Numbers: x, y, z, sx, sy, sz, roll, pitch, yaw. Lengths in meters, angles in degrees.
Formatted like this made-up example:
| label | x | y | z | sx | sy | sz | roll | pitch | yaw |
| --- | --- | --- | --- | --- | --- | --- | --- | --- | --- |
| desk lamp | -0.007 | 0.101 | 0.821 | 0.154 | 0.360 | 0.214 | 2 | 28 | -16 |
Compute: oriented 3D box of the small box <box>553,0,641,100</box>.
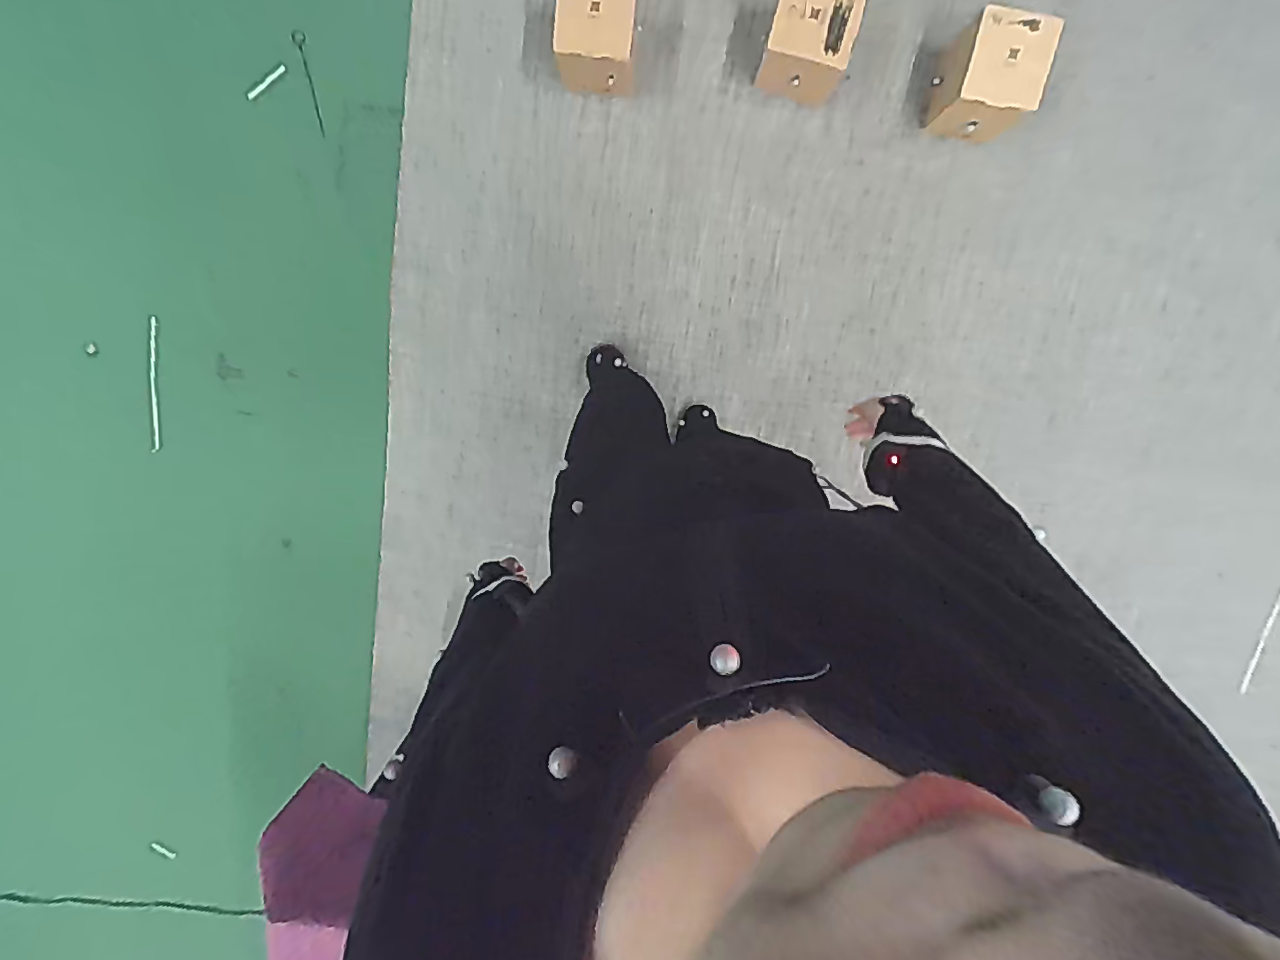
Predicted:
| label | x | y | z | sx | sy | sz | roll | pitch | yaw |
| --- | --- | --- | --- | --- | --- | --- | --- | --- | --- |
| small box | -0.090 | -0.988 | 1.207 | 0.168 | 0.176 | 0.179 | 8 | 101 | 0 |

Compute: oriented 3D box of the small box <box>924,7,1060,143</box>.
| label | x | y | z | sx | sy | sz | roll | pitch | yaw |
| --- | --- | --- | --- | --- | --- | --- | --- | --- | --- |
| small box | 0.760 | -0.877 | 1.190 | 0.168 | 0.176 | 0.179 | 12 | 103 | 0 |
